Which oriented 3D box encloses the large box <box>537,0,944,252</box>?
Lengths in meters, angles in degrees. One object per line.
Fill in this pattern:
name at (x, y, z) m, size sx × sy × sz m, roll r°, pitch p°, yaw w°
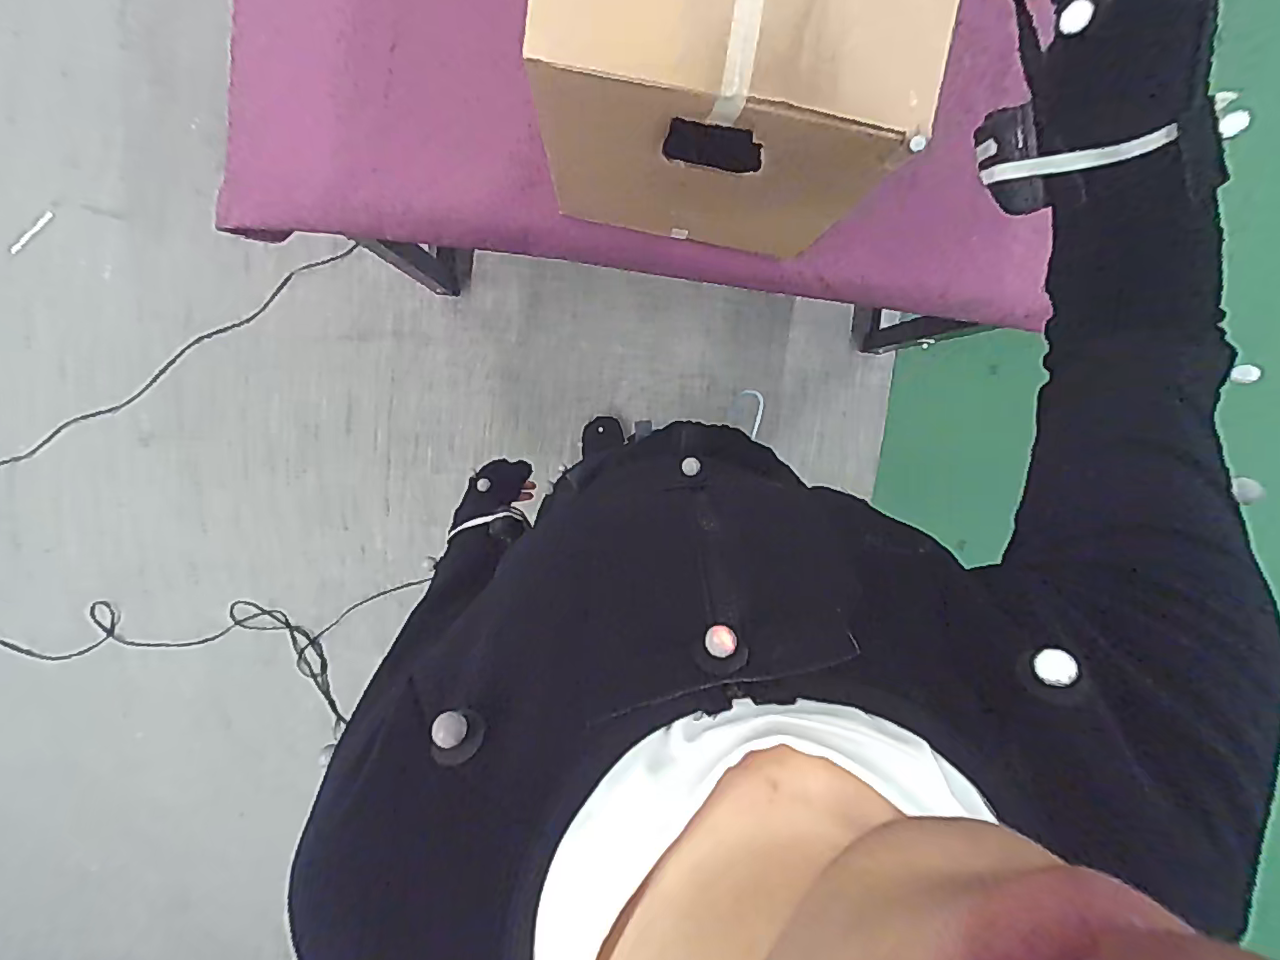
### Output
large box at (0.090, -0.502, 0.546) m, size 0.320 × 0.320 × 0.408 m, roll 9°, pitch 97°, yaw -4°
